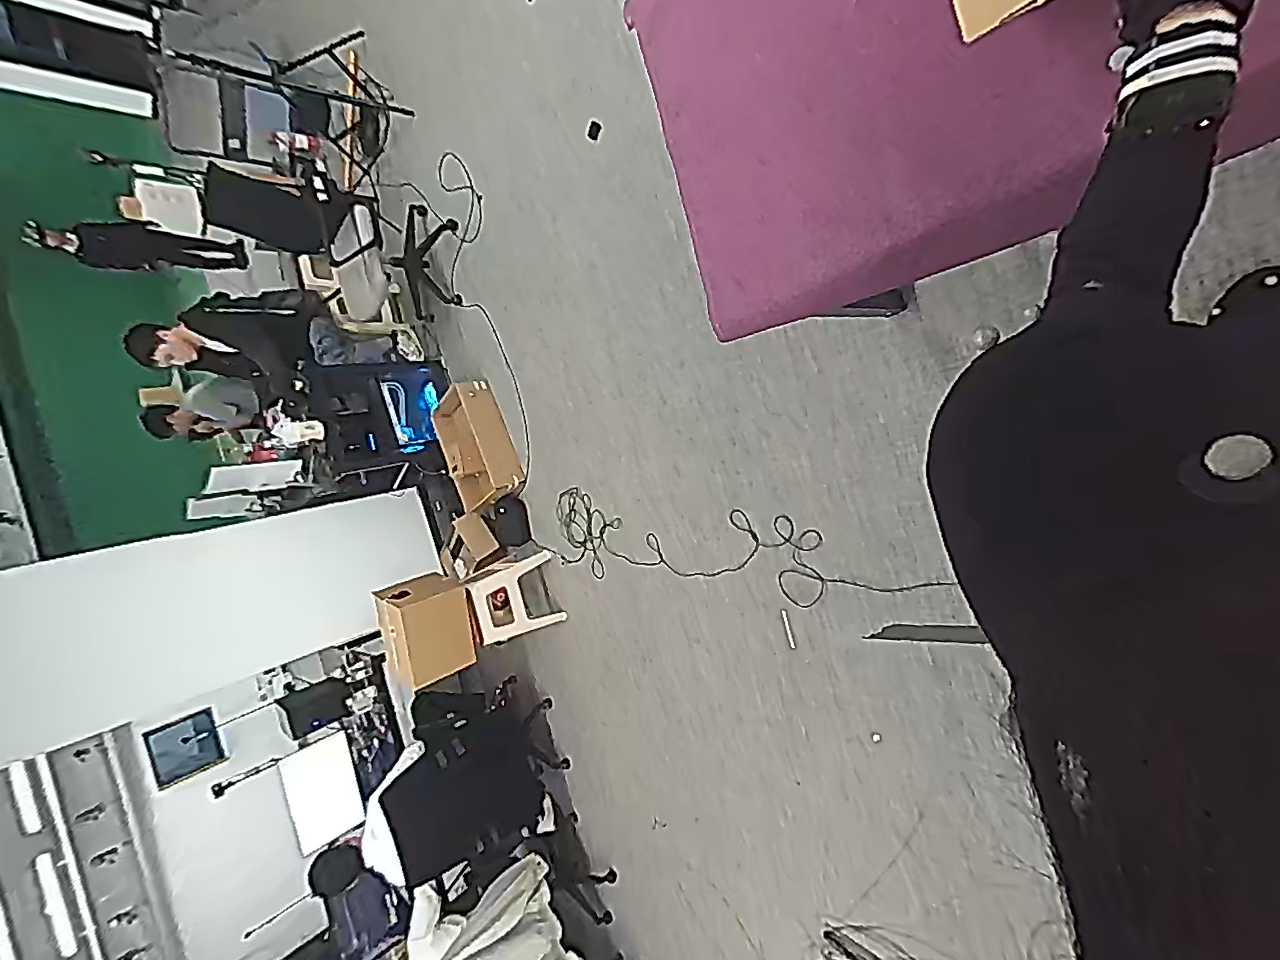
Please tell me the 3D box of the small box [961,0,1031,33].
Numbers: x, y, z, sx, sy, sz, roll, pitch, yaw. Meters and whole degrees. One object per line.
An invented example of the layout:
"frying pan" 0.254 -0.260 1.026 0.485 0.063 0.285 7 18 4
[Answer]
"small box" 0.374 -0.547 0.461 0.168 0.176 0.179 -3 125 57
